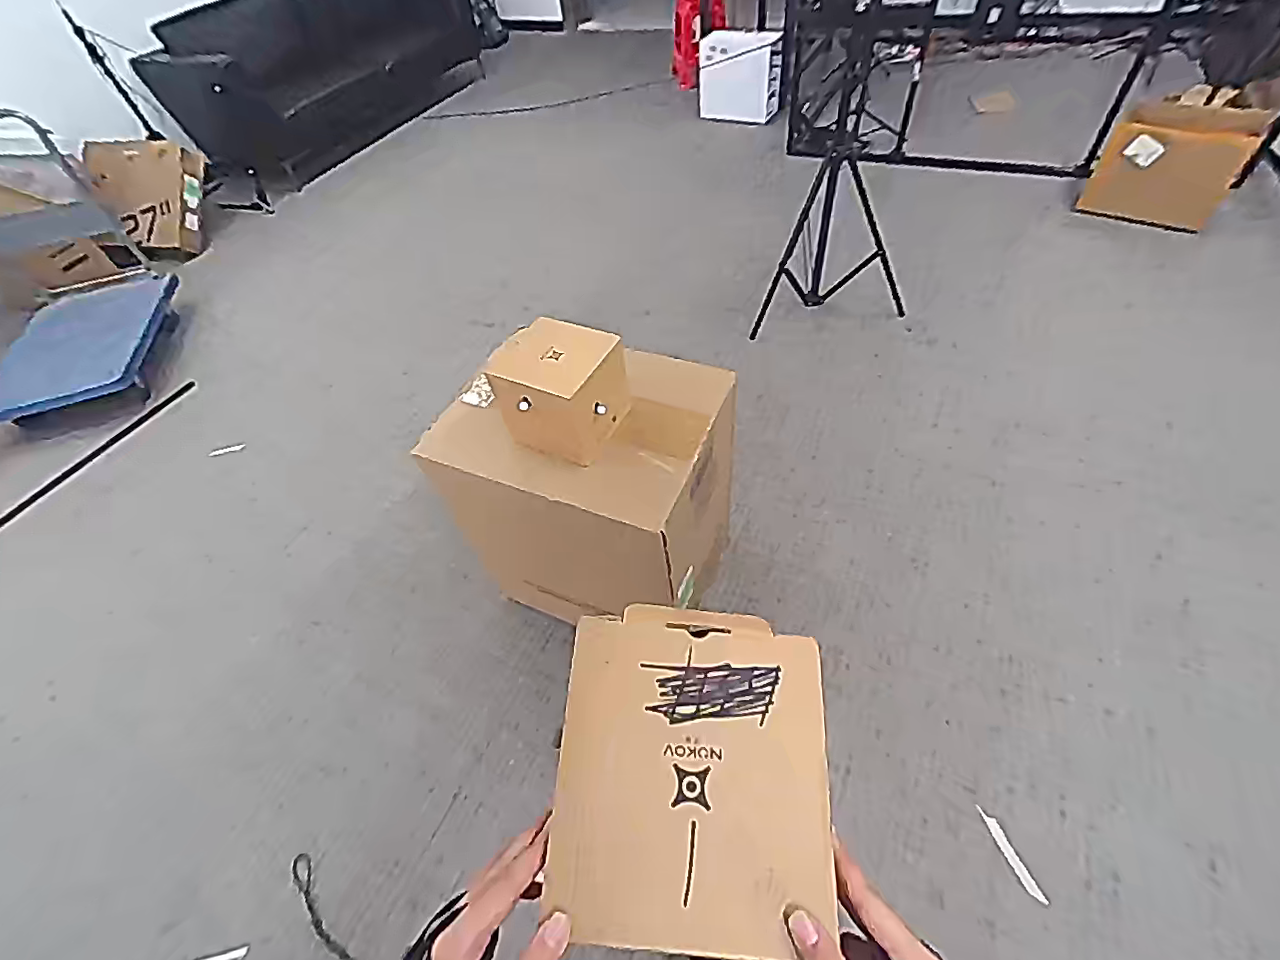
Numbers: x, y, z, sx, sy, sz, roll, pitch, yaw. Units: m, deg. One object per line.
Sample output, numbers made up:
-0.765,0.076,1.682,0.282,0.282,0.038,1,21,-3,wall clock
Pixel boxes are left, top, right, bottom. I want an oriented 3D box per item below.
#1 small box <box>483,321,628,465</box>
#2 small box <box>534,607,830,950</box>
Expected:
-0.138,-0.151,0.962,0.179,0.176,0.168,20,57,22,small box
0.026,0.209,0.402,0.168,0.176,0.179,5,62,0,small box
